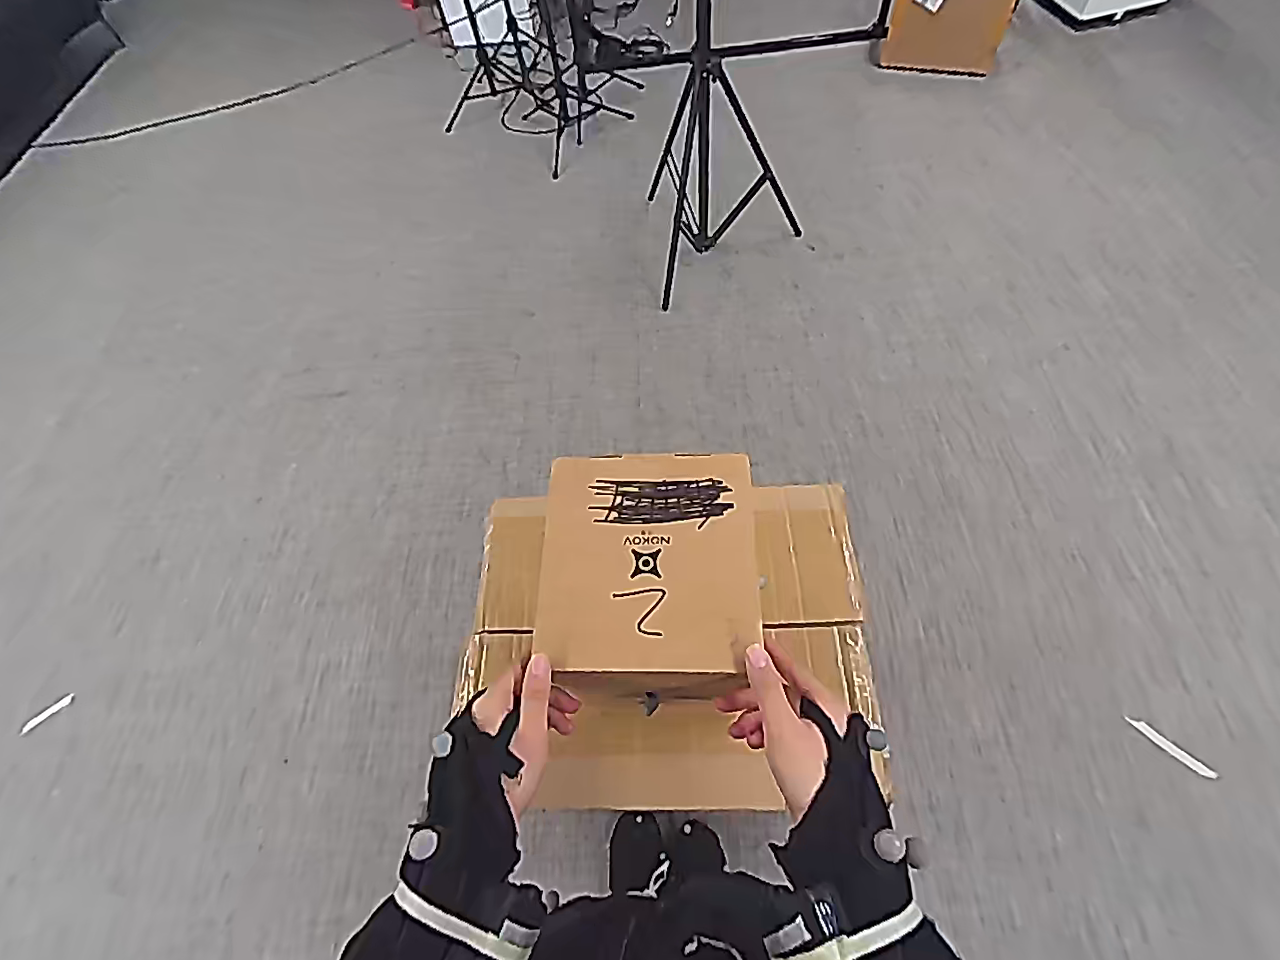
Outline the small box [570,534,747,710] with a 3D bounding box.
[{"bbox_3d":[0.027,0.171,0.628,0.179,0.176,0.168,-1,61,5],"label":"small box"}]
